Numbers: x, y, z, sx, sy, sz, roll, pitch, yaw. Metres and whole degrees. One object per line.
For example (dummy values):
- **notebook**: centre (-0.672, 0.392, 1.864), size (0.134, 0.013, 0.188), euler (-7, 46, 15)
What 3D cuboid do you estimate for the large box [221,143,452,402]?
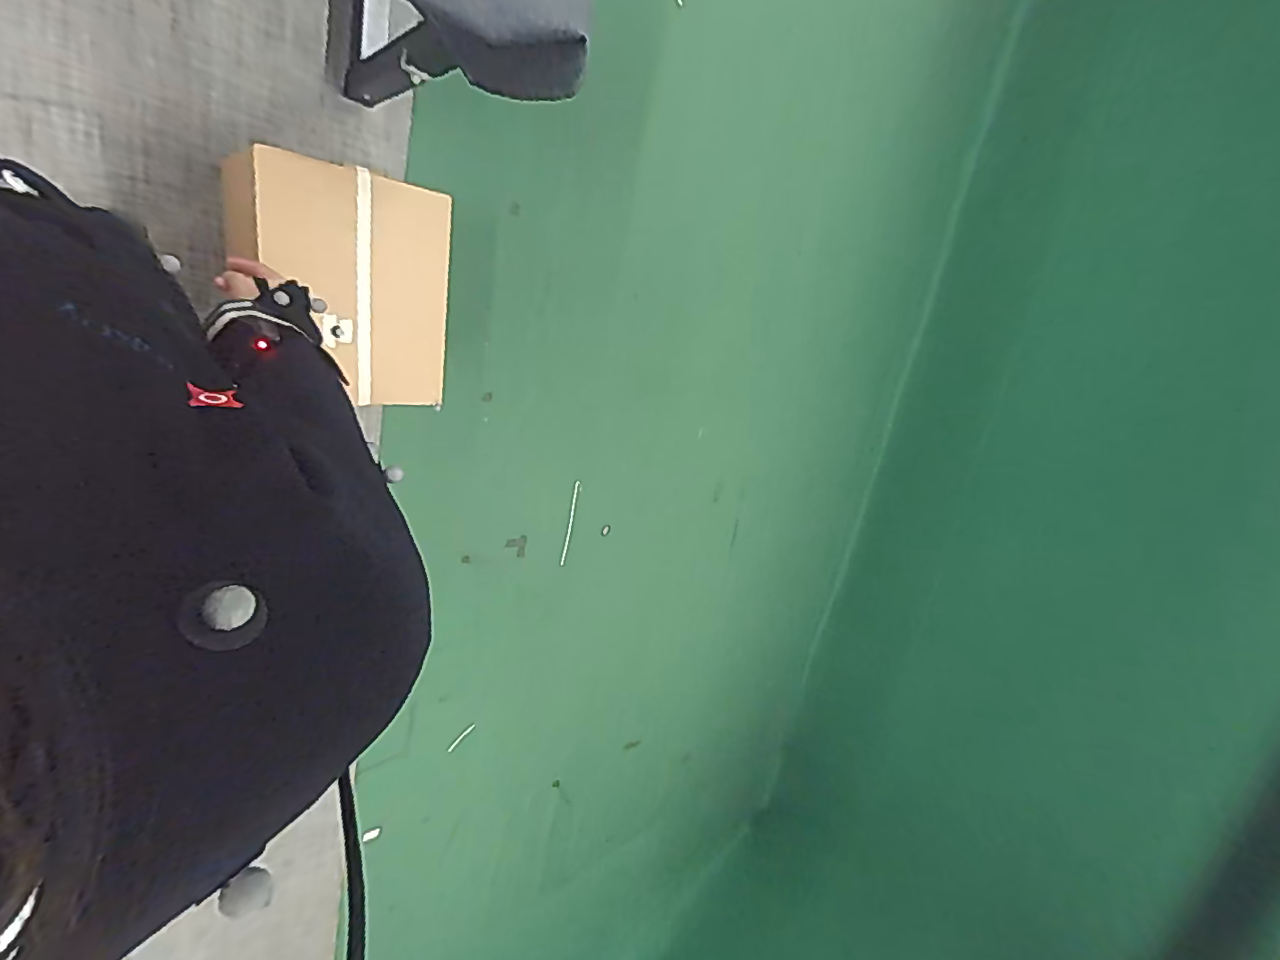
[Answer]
- **large box**: centre (-0.594, -0.387, 1.064), size (0.320, 0.320, 0.408), euler (-7, 115, -43)
